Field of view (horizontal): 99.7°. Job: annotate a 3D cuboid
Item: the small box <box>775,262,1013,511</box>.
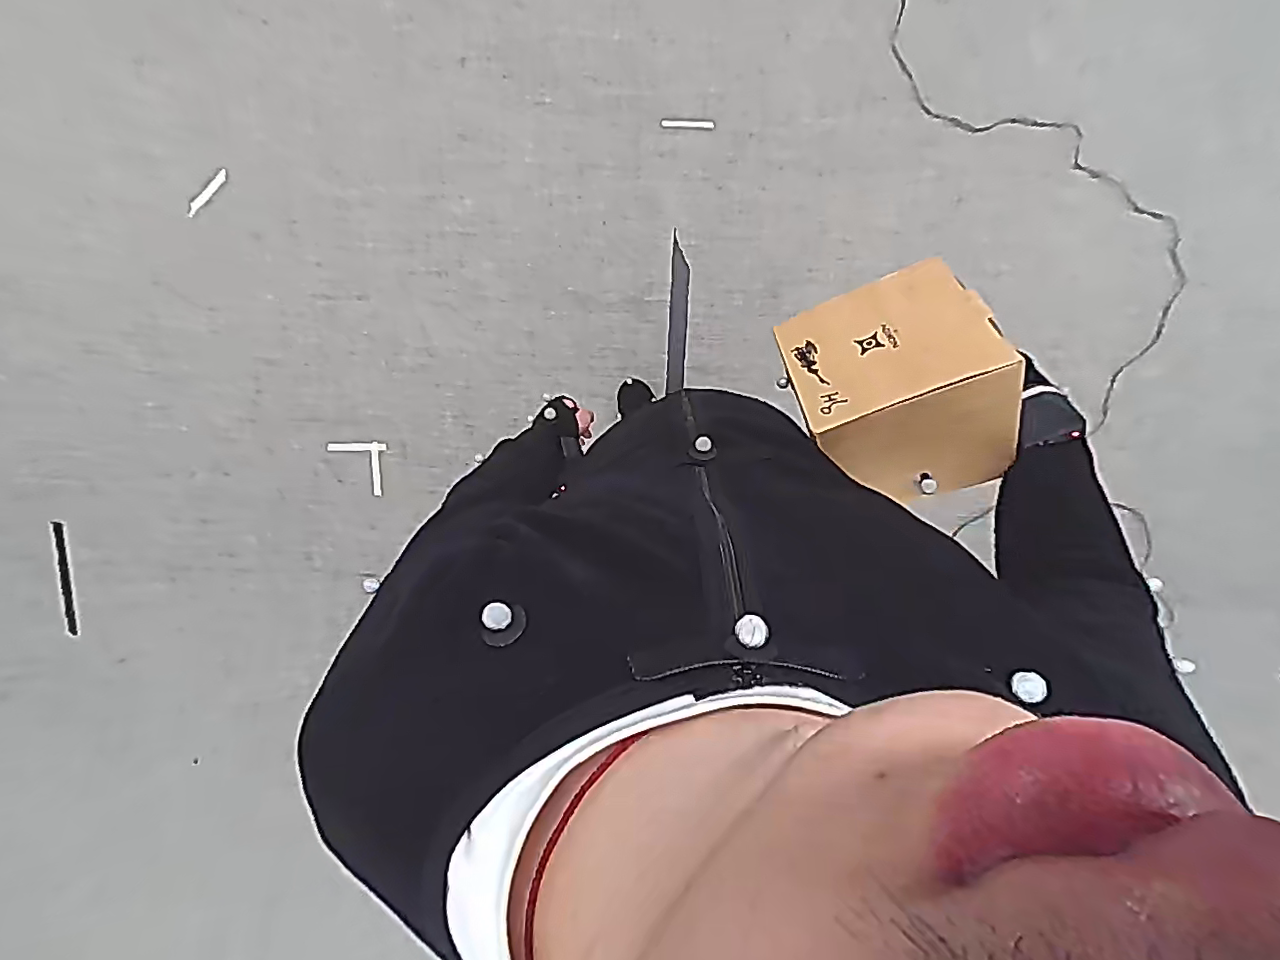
[{"bbox_3d":[0.268,-0.093,0.590,0.179,0.168,0.176,-20,138,17],"label":"small box"}]
